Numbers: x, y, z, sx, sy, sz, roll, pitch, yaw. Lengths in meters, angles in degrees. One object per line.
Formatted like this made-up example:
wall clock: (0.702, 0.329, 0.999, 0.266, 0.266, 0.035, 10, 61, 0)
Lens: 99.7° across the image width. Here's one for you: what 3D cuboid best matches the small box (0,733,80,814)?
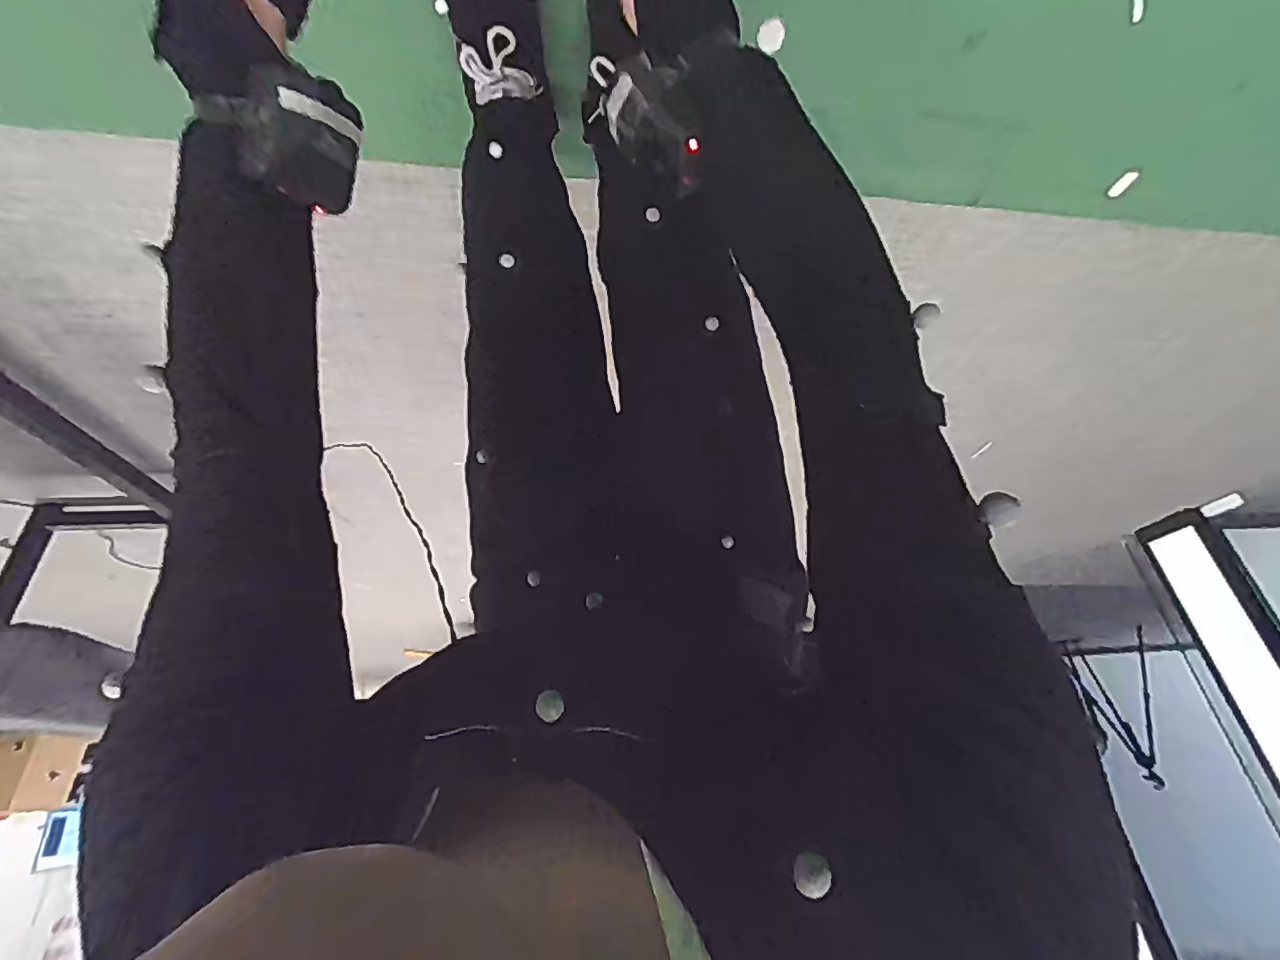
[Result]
small box: (-1.528, 0.706, 1.300, 0.168, 0.176, 0.179, 1, 152, -11)
